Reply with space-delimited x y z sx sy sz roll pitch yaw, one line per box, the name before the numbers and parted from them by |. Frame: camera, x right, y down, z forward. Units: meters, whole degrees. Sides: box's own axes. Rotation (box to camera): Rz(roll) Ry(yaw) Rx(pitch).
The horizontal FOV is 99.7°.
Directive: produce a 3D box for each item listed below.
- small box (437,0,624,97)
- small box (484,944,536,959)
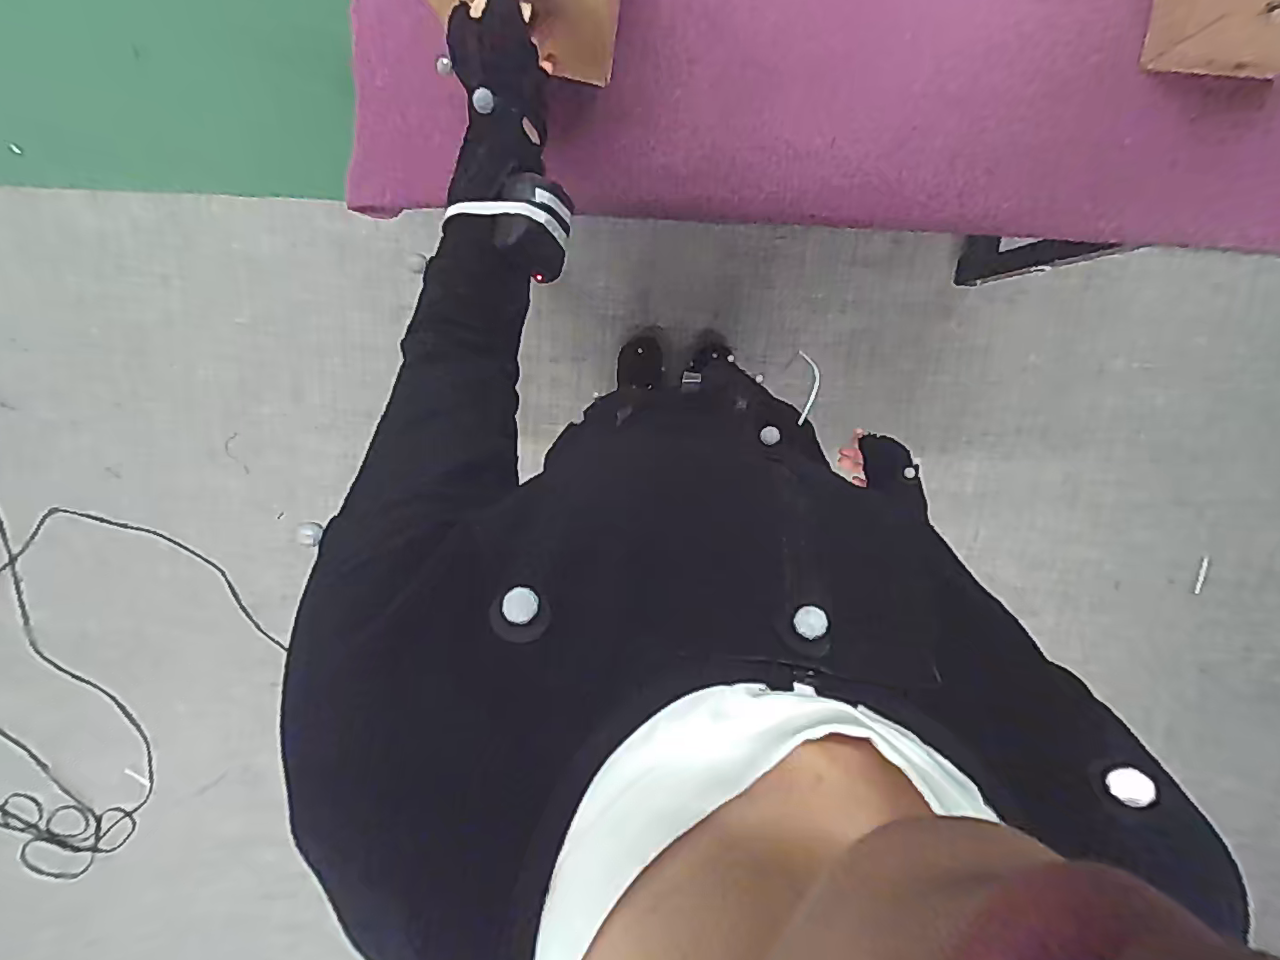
small box | -0.096 -0.497 0.495 0.168 0.176 0.179 9 105 -5
small box | -0.433 1.656 1.751 0.168 0.176 0.179 2 100 2
